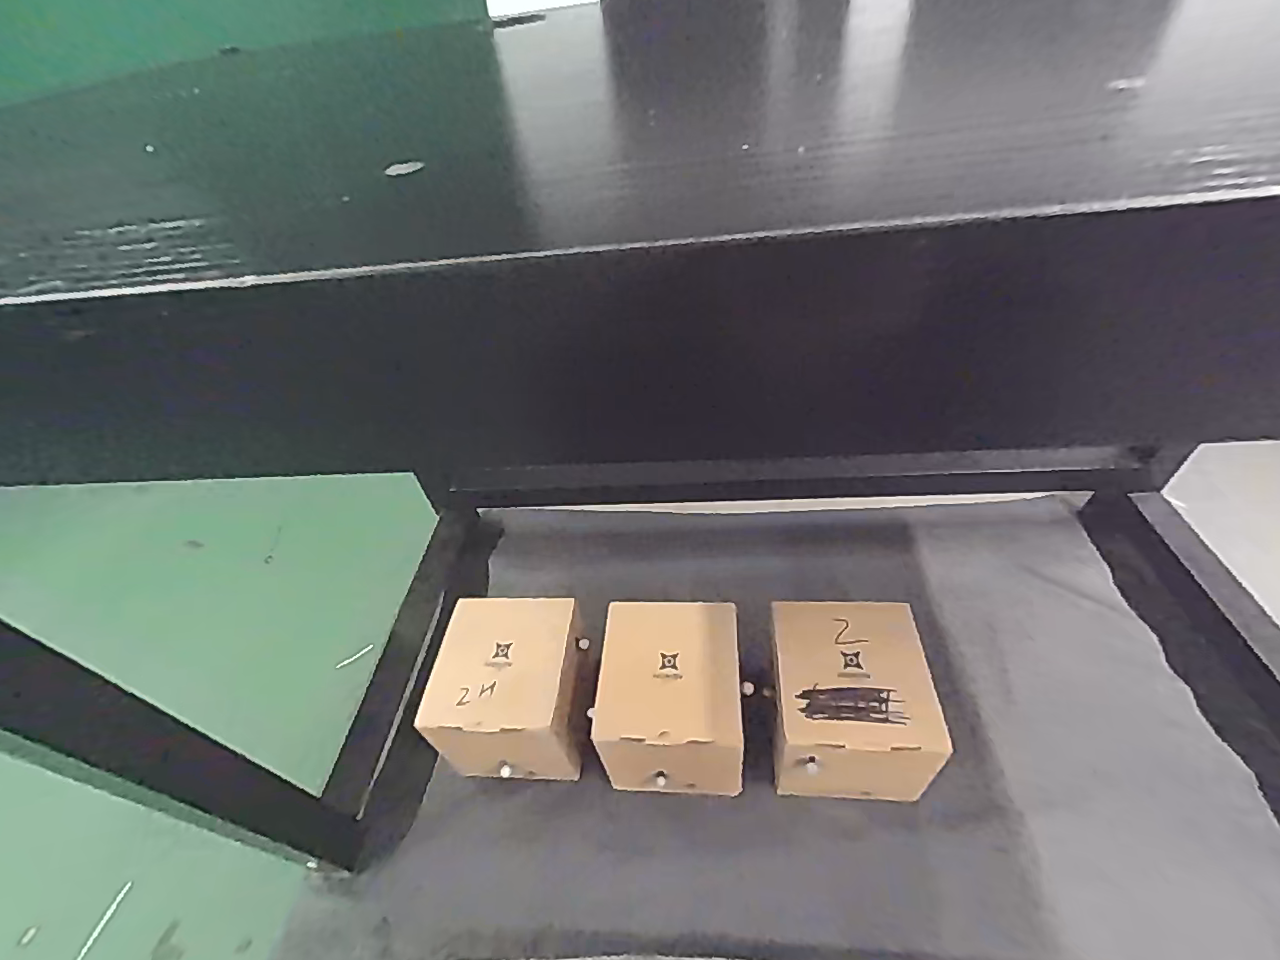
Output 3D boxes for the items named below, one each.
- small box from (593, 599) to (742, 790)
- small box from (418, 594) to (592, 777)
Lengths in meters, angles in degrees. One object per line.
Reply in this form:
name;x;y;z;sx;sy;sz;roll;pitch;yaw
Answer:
small box;0.042;0.276;0.700;0.168;0.176;0.179;-1;45;7
small box;-0.164;0.274;0.729;0.168;0.176;0.179;-1;44;7
